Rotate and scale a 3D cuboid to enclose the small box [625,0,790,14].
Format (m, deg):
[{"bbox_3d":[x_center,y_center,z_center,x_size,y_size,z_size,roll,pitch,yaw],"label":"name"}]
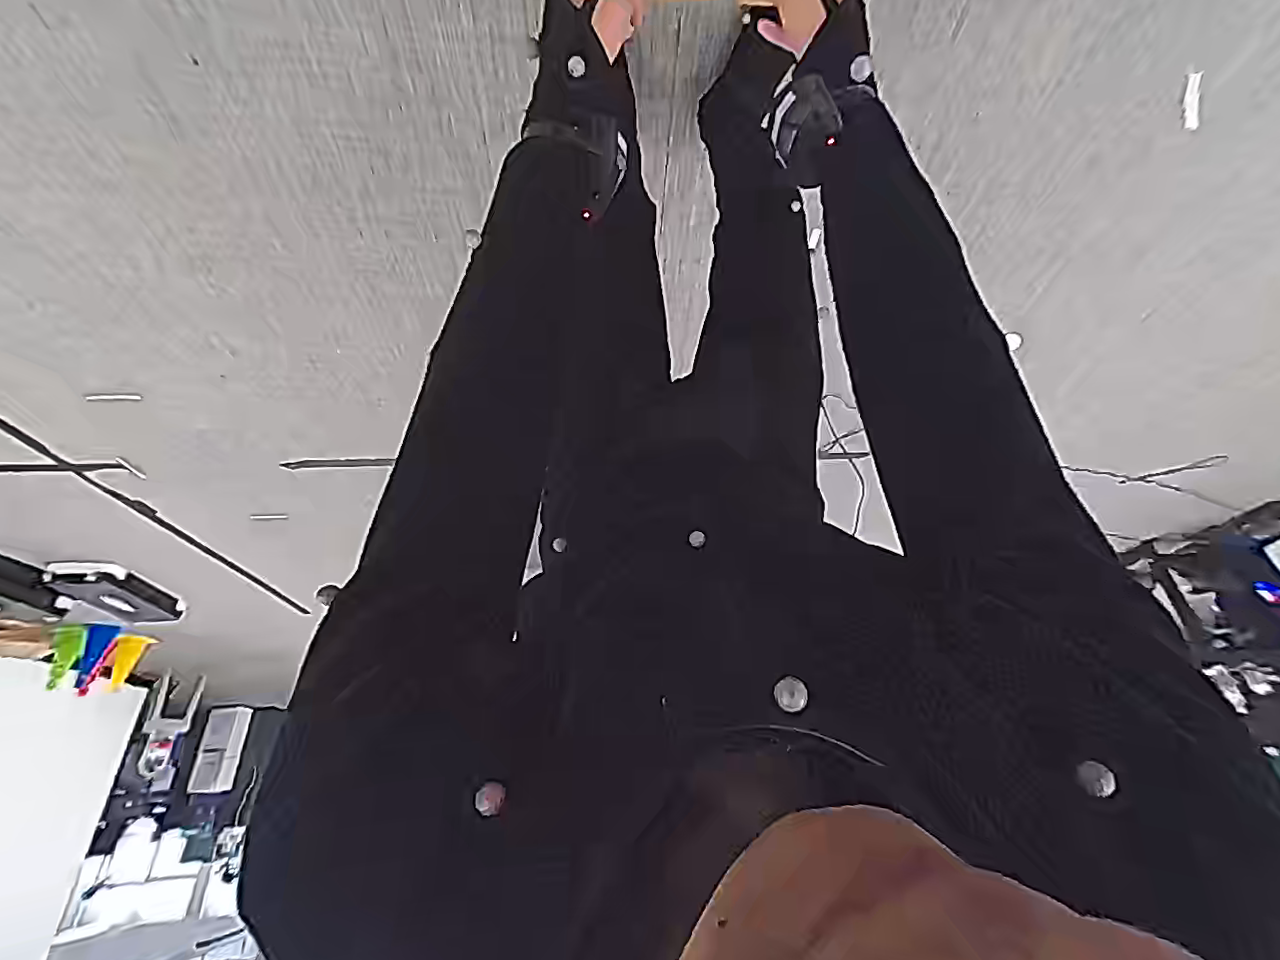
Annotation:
[{"bbox_3d":[0.048,-0.527,0.444,0.179,0.176,0.168,-1,150,-7],"label":"small box"}]
